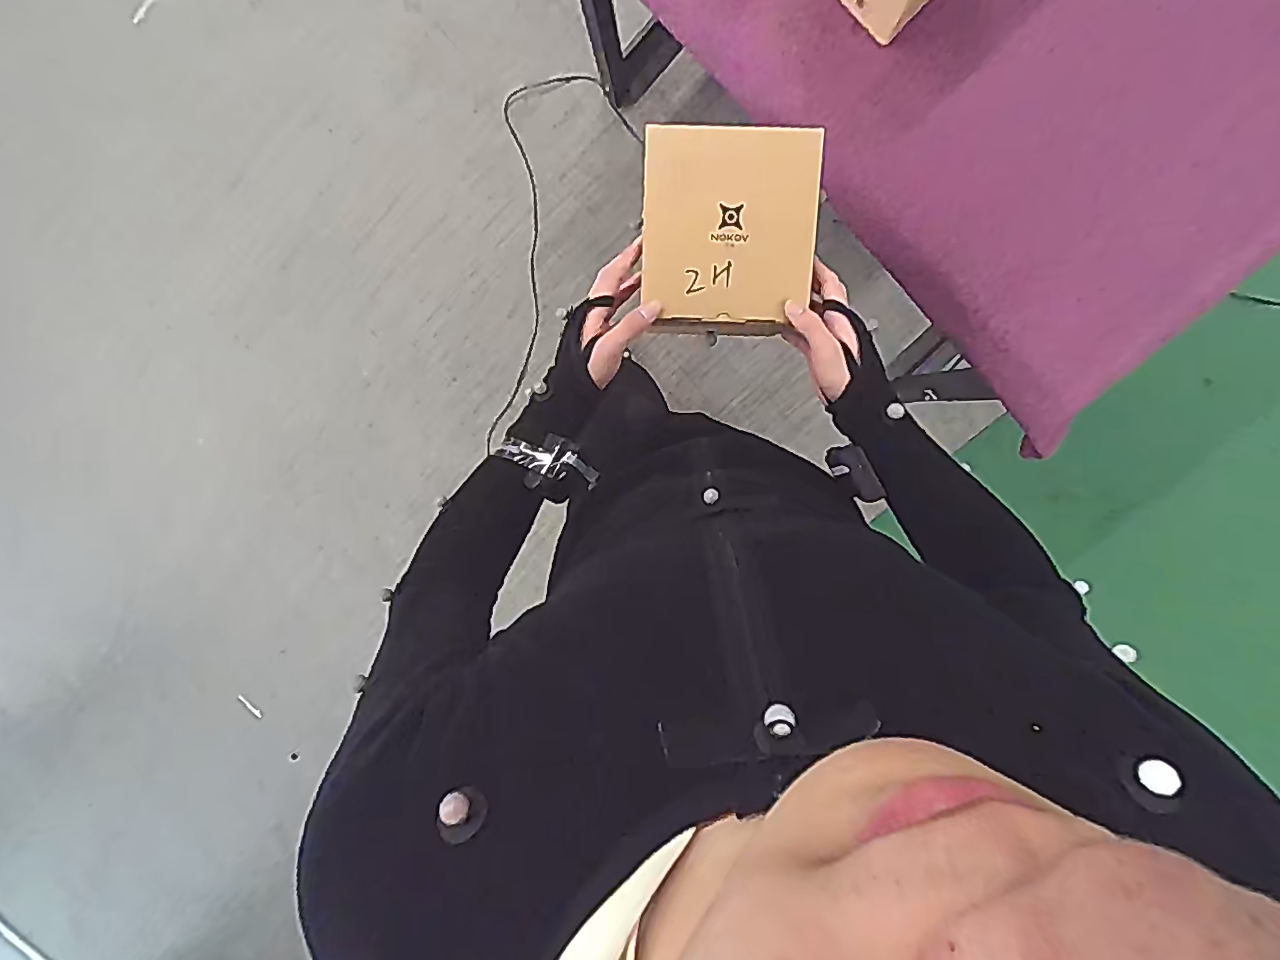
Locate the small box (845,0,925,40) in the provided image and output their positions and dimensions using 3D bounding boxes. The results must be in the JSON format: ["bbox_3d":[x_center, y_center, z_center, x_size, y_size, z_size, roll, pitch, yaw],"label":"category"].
[{"bbox_3d":[0.342,-0.725,0.680,0.168,0.176,0.179,44,98,-2],"label":"small box"}]
